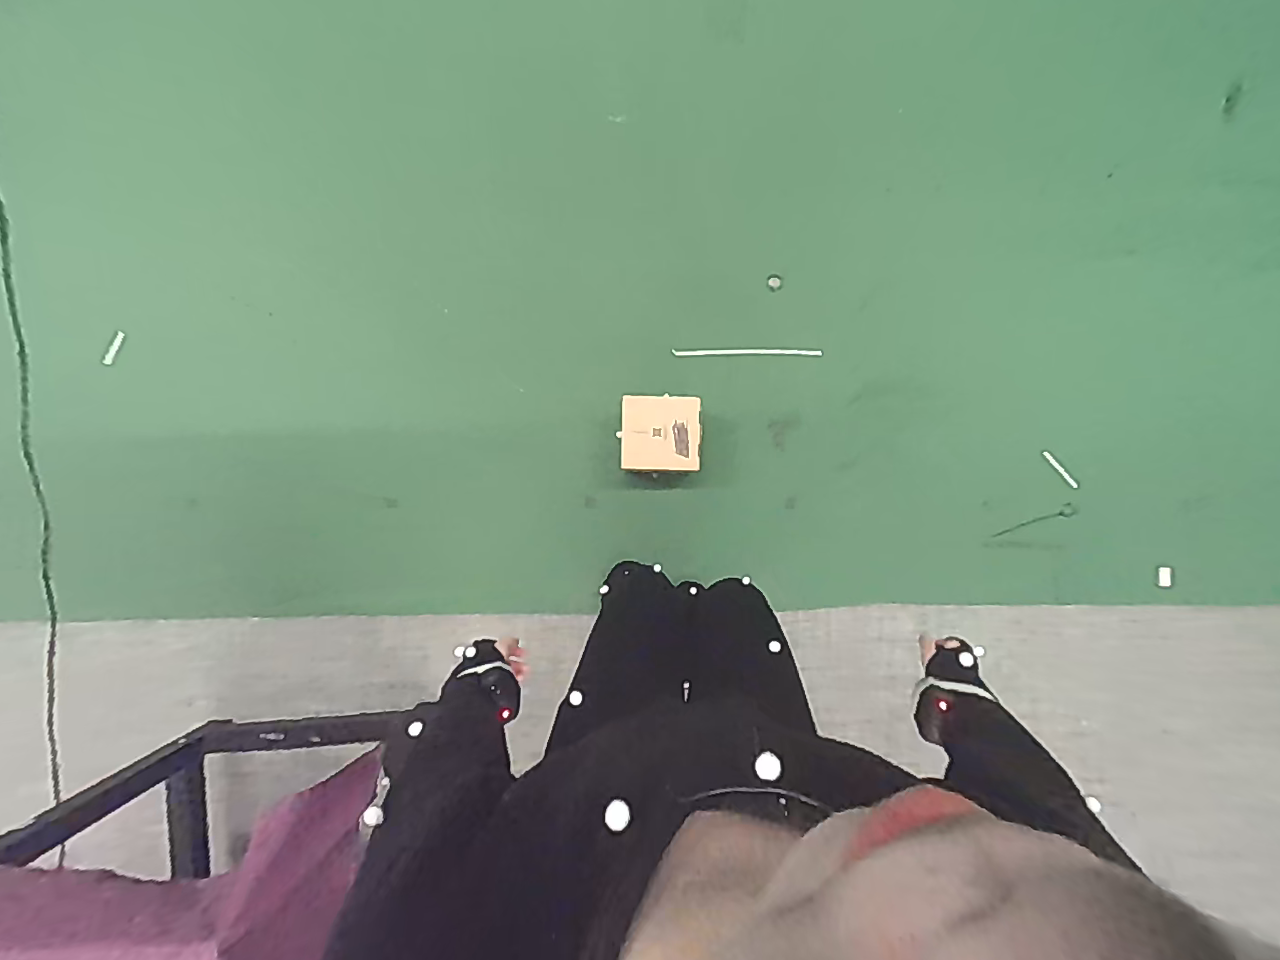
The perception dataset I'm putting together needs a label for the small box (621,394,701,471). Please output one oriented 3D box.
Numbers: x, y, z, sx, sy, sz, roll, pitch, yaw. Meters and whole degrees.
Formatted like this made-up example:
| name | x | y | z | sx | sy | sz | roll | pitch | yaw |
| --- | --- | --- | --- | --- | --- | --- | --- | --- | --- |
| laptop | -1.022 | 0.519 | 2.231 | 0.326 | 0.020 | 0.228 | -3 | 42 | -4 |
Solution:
| name | x | y | z | sx | sy | sz | roll | pitch | yaw |
| --- | --- | --- | --- | --- | --- | --- | --- | --- | --- |
| small box | 0.047 | -0.107 | 1.275 | 0.179 | 0.176 | 0.168 | 1 | 89 | 1 |
